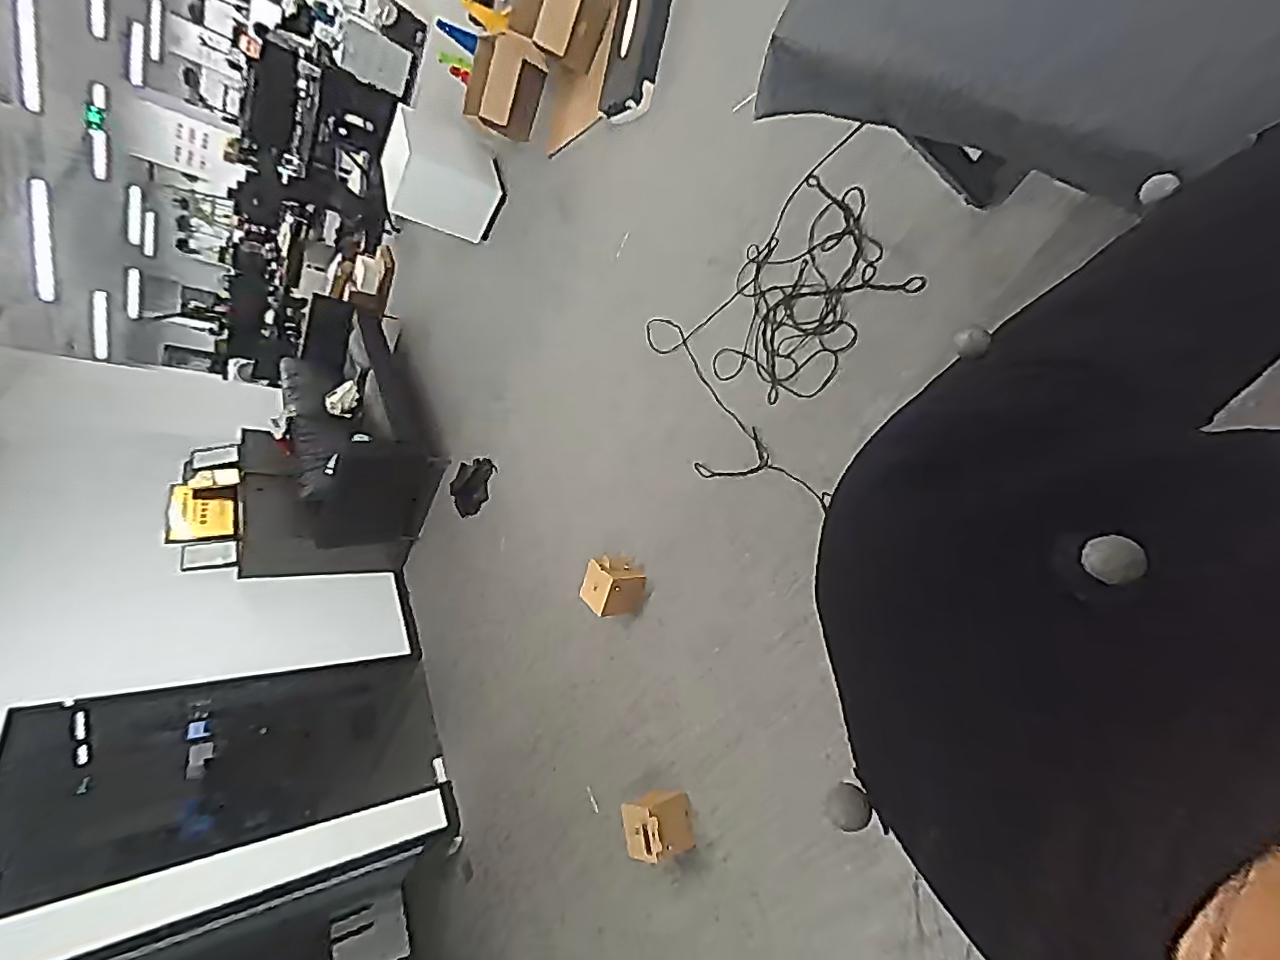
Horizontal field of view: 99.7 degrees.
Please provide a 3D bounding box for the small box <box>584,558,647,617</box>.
[{"bbox_3d":[-0.095,0.427,2.164,0.168,0.176,0.179,34,111,47],"label":"small box"}]
